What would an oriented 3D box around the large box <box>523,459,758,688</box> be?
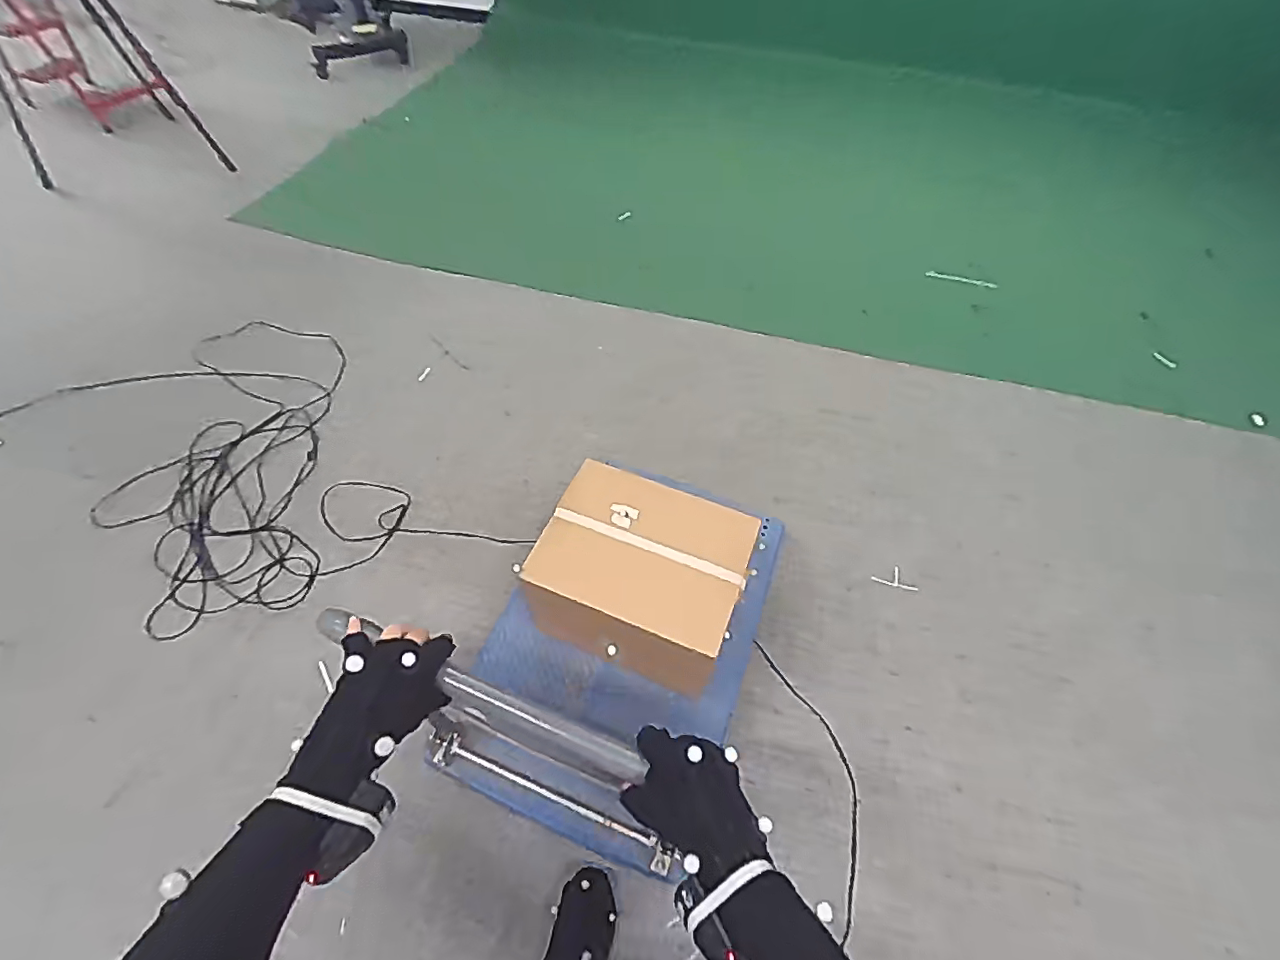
[{"bbox_3d":[0.011,0.212,1.208,0.408,0.320,0.320,19,56,12],"label":"large box"}]
